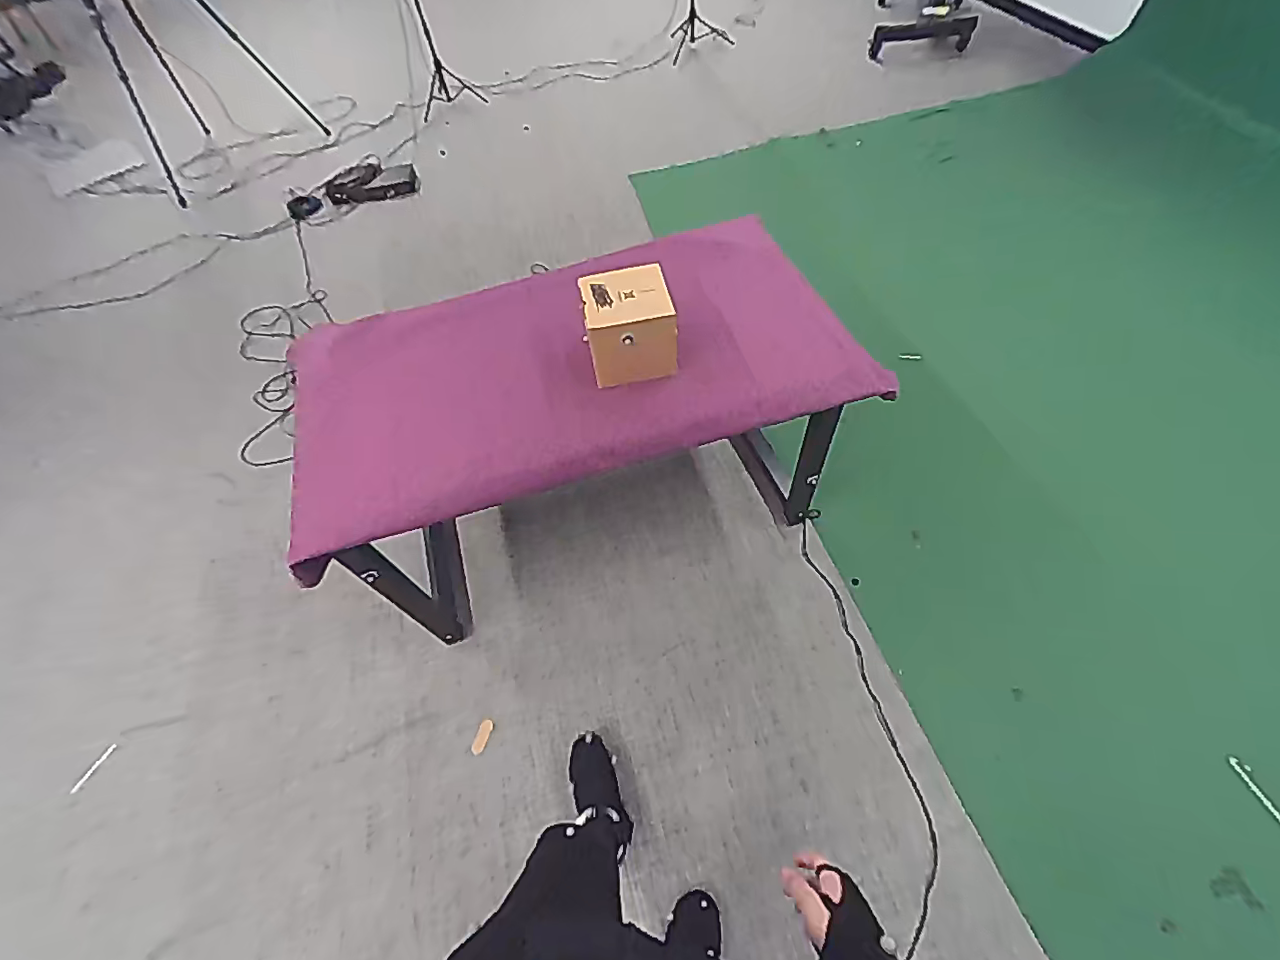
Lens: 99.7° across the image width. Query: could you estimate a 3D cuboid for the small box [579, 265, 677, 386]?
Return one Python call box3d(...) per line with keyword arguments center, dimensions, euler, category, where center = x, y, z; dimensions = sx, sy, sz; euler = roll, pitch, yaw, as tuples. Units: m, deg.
box3d(center=(-0.022, -0.319, 1.141), dimensions=(0.179, 0.176, 0.168), euler=(-11, 57, -2), category="small box")
